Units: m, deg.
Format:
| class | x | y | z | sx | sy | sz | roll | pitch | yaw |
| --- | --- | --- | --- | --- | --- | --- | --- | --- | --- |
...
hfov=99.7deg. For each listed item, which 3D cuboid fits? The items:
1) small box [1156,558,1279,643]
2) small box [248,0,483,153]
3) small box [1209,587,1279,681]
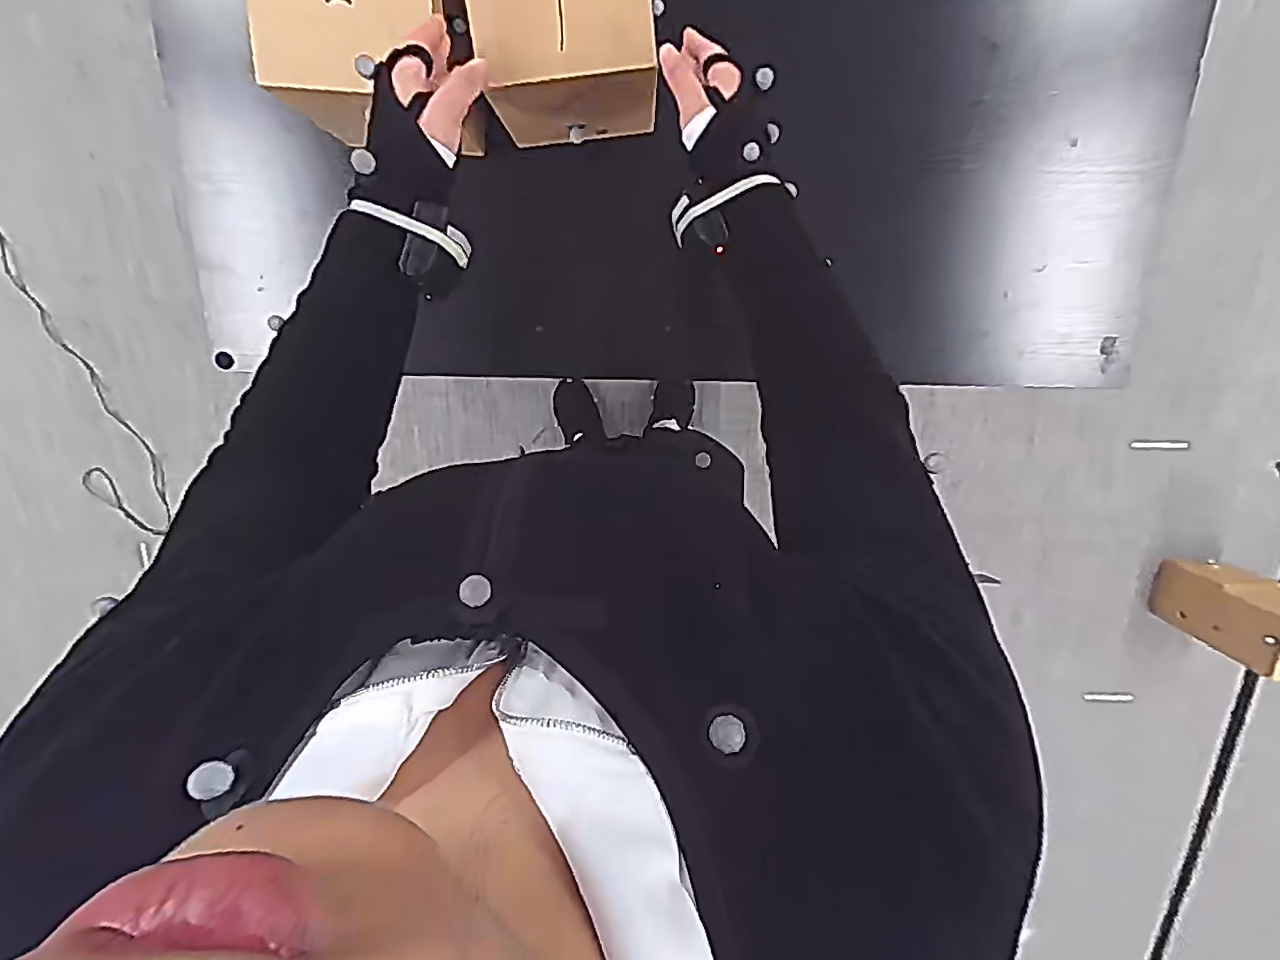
| class | x | y | z | sx | sy | sz | roll | pitch | yaw |
| --- | --- | --- | --- | --- | --- | --- | --- | --- | --- |
| small box | 1.591 | 0.330 | 1.490 | 0.168 | 0.176 | 0.179 | 0 | 104 | 0 |
| small box | -0.264 | -0.457 | 0.553 | 0.168 | 0.176 | 0.179 | 3 | 104 | -1 |
| small box | 1.588 | 0.374 | 1.332 | 0.179 | 0.176 | 0.168 | -2 | 105 | 0 |
